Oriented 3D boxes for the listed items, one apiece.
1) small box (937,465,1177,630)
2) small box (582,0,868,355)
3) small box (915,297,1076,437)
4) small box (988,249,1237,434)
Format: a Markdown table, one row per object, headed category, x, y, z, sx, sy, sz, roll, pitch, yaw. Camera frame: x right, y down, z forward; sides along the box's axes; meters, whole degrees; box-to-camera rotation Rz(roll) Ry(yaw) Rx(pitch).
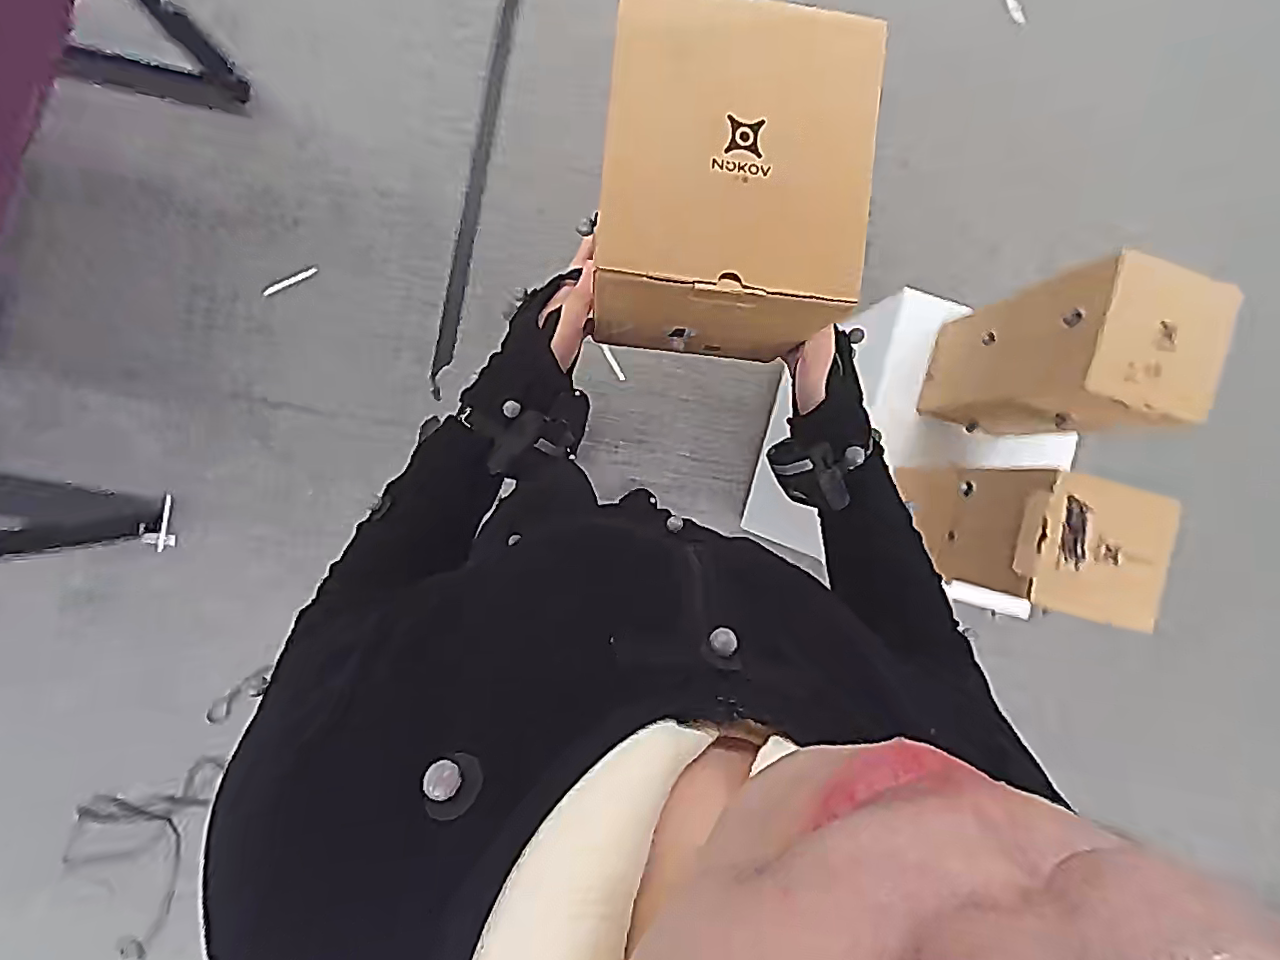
| category | x | y | z | sx | sy | sz | roll | pitch | yaw |
| --- | --- | --- | --- | --- | --- | --- | --- | --- | --- |
| small box | 0.539 | 0.081 | 0.723 | 0.179 | 0.176 | 0.168 | 14 | 90 | -7 |
| small box | 0.045 | -0.203 | 0.402 | 0.168 | 0.176 | 0.179 | 3 | 92 | -6 |
| small box | 0.598 | -0.173 | 0.887 | 0.179 | 0.176 | 0.168 | 17 | 90 | -7 |
| small box | 0.611 | -0.170 | 0.723 | 0.168 | 0.176 | 0.179 | 16 | 90 | -5 |
